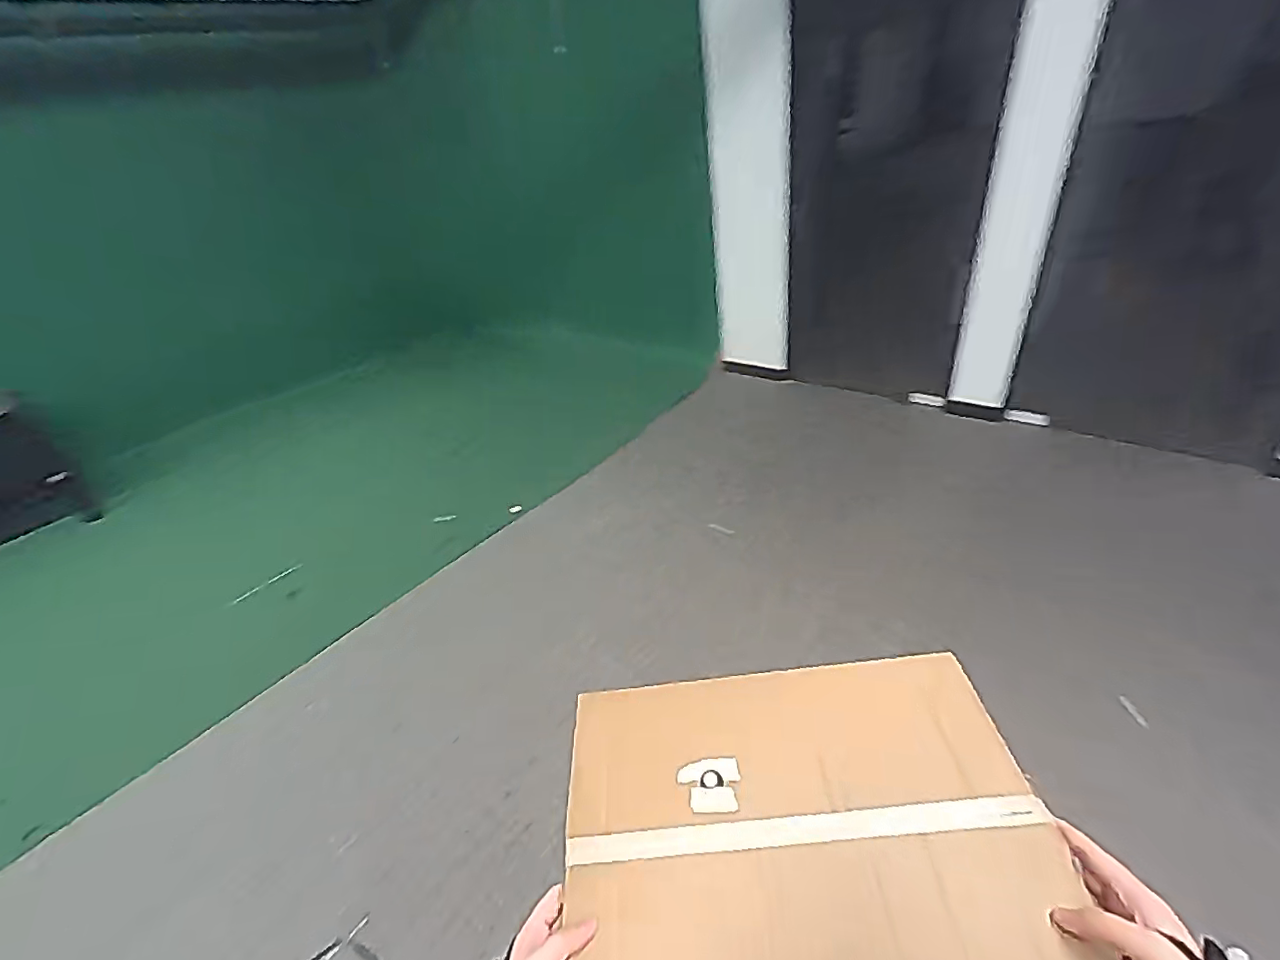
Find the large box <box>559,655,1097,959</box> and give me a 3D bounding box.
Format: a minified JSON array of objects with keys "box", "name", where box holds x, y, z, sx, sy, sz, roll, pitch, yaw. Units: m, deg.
[{"box":[0.155,0.429,0.564,0.408,0.320,0.320,-10,37,5],"name":"large box"}]
